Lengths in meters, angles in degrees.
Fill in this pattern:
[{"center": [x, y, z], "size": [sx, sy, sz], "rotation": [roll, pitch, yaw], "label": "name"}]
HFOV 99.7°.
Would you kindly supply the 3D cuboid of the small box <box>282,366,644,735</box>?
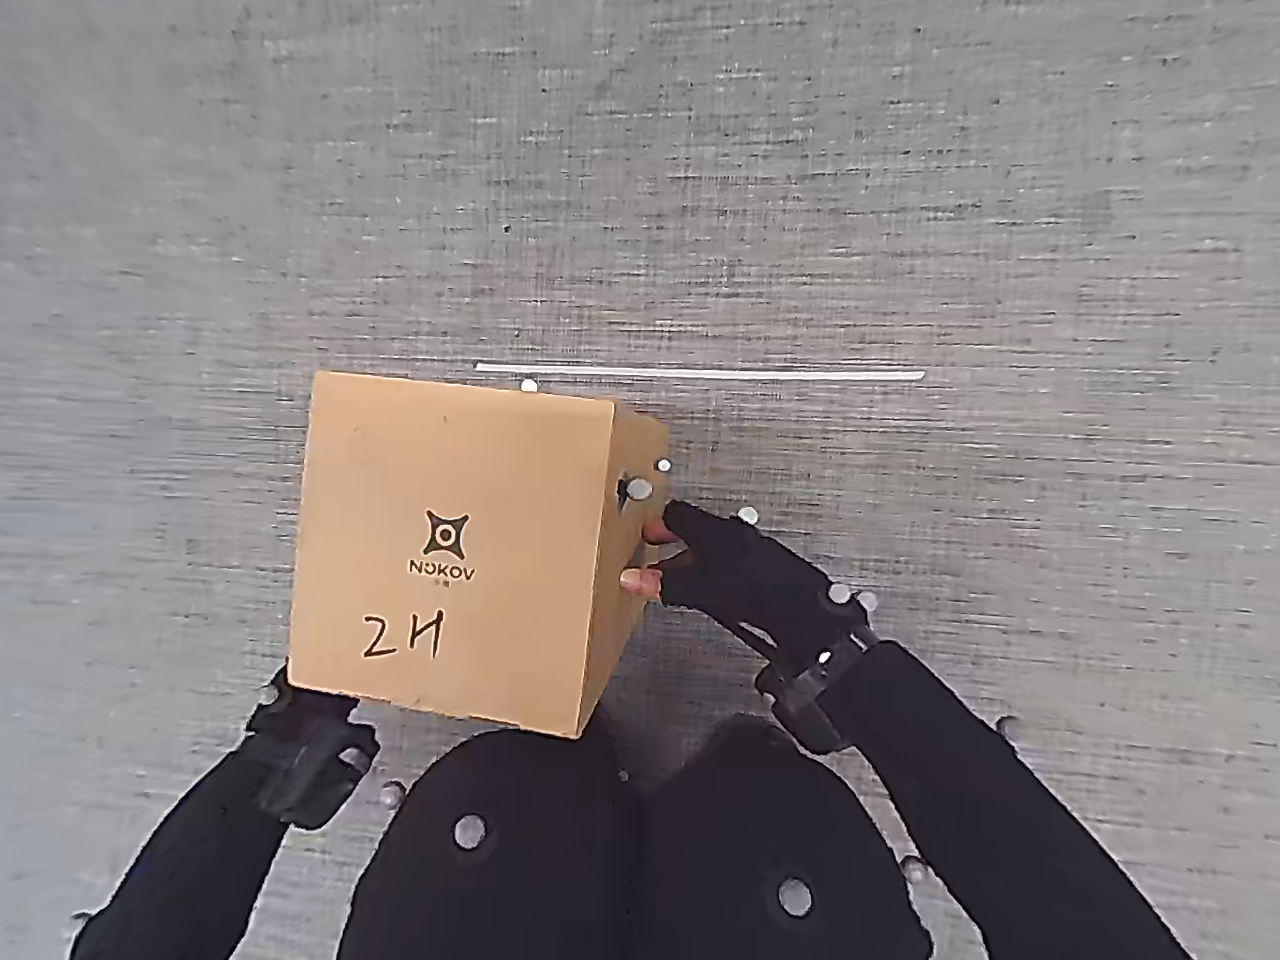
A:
[{"center": [-0.094, 0.034, 0.362], "size": [0.168, 0.176, 0.179], "rotation": [7, 92, 8], "label": "small box"}]
